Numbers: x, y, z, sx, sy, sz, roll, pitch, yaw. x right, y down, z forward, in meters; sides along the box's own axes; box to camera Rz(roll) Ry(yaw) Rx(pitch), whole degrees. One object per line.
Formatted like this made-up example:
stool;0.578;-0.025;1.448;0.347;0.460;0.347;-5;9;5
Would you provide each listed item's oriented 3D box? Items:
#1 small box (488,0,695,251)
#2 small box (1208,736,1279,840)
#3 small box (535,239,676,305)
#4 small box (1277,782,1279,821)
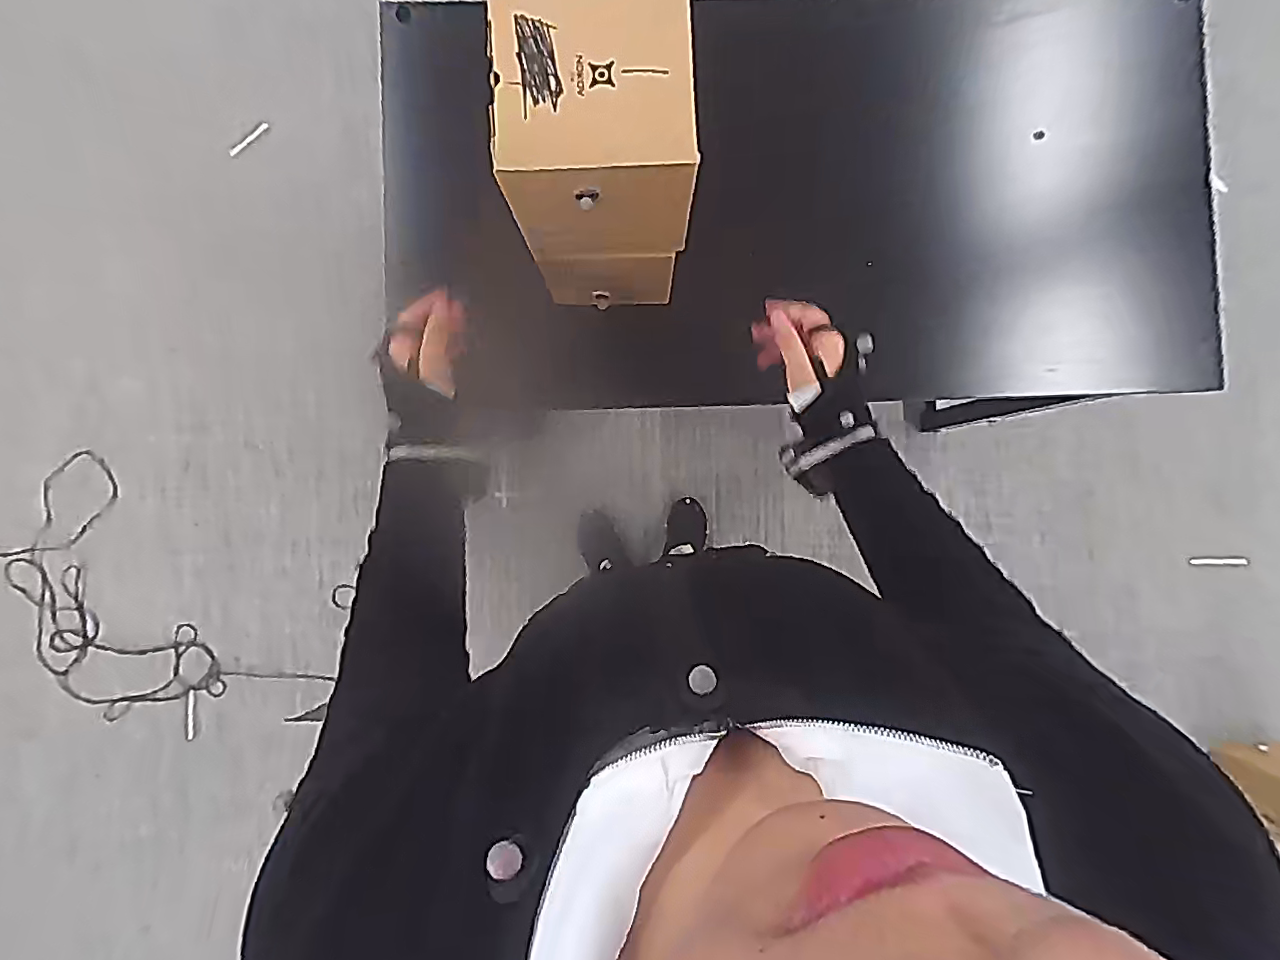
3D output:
small box;-0.041;-0.346;0.542;0.179;0.176;0.168;-3;89;0
small box;1.661;0.802;1.417;0.168;0.176;0.179;-7;89;0
small box;-0.041;-0.343;0.707;0.168;0.176;0.179;-2;90;1
small box;1.652;0.799;1.253;0.179;0.176;0.168;-9;89;1
